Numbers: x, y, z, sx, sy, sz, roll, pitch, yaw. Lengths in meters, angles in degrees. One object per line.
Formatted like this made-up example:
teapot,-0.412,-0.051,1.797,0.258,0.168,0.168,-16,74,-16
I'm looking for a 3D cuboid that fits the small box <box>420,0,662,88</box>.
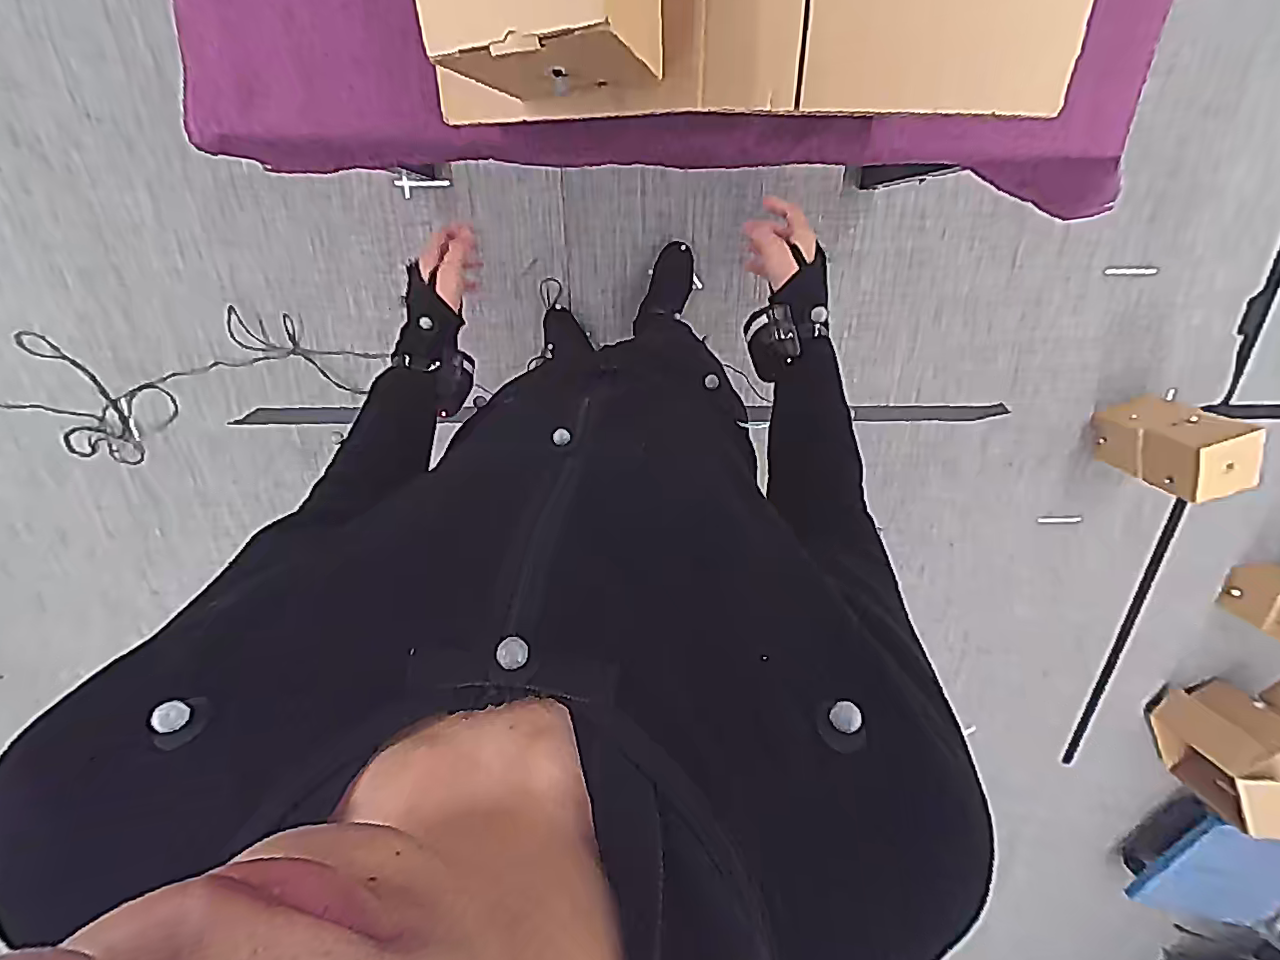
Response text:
small box,-0.080,-0.463,0.469,0.168,0.176,0.179,4,116,16
